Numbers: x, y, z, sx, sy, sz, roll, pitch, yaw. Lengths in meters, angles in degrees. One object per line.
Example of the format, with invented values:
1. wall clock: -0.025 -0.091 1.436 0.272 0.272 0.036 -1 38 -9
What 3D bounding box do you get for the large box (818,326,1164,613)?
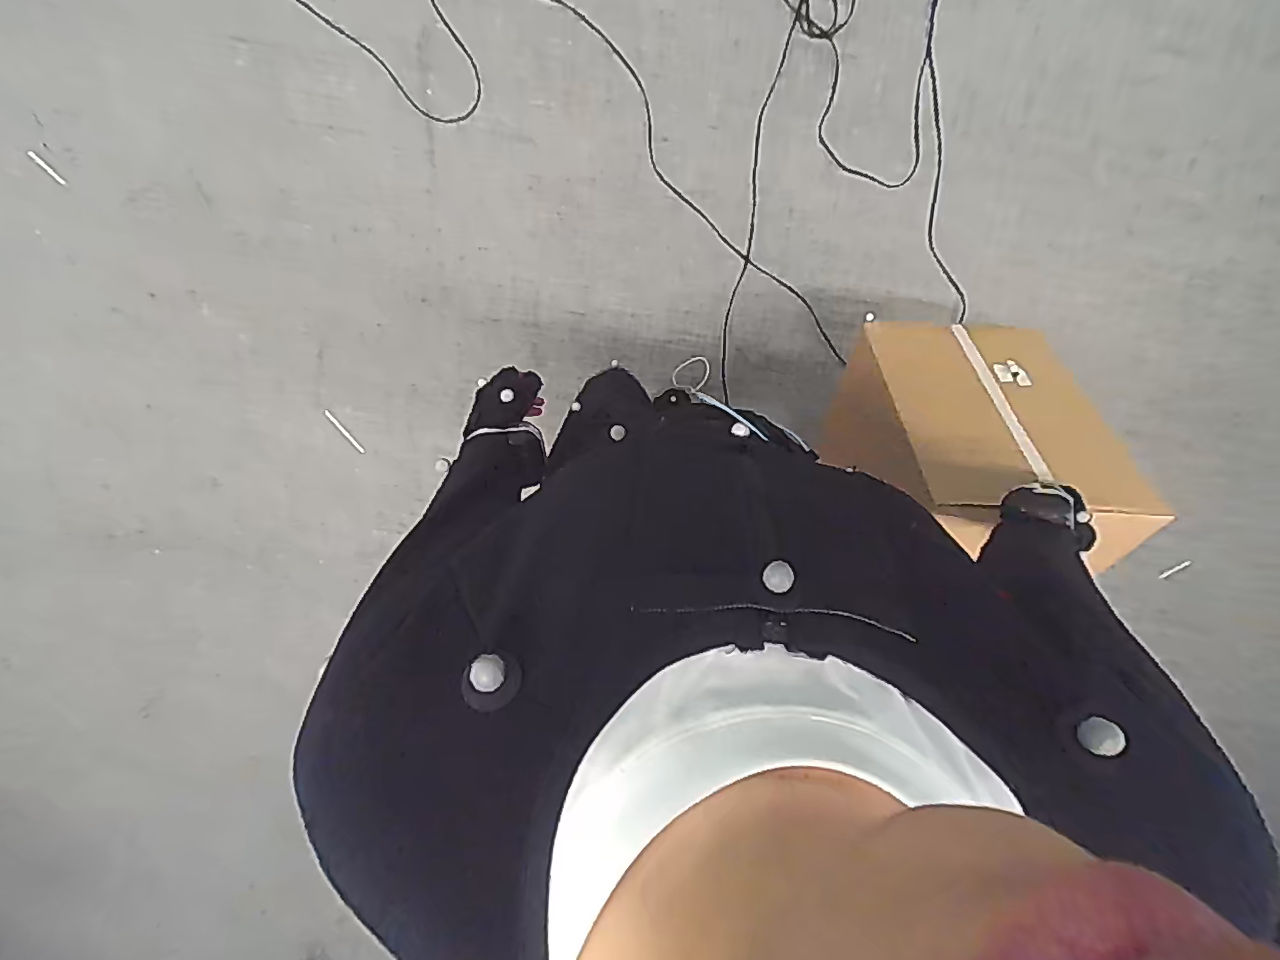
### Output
1. large box: 0.533 -0.017 0.941 0.320 0.408 0.320 3 139 -1
